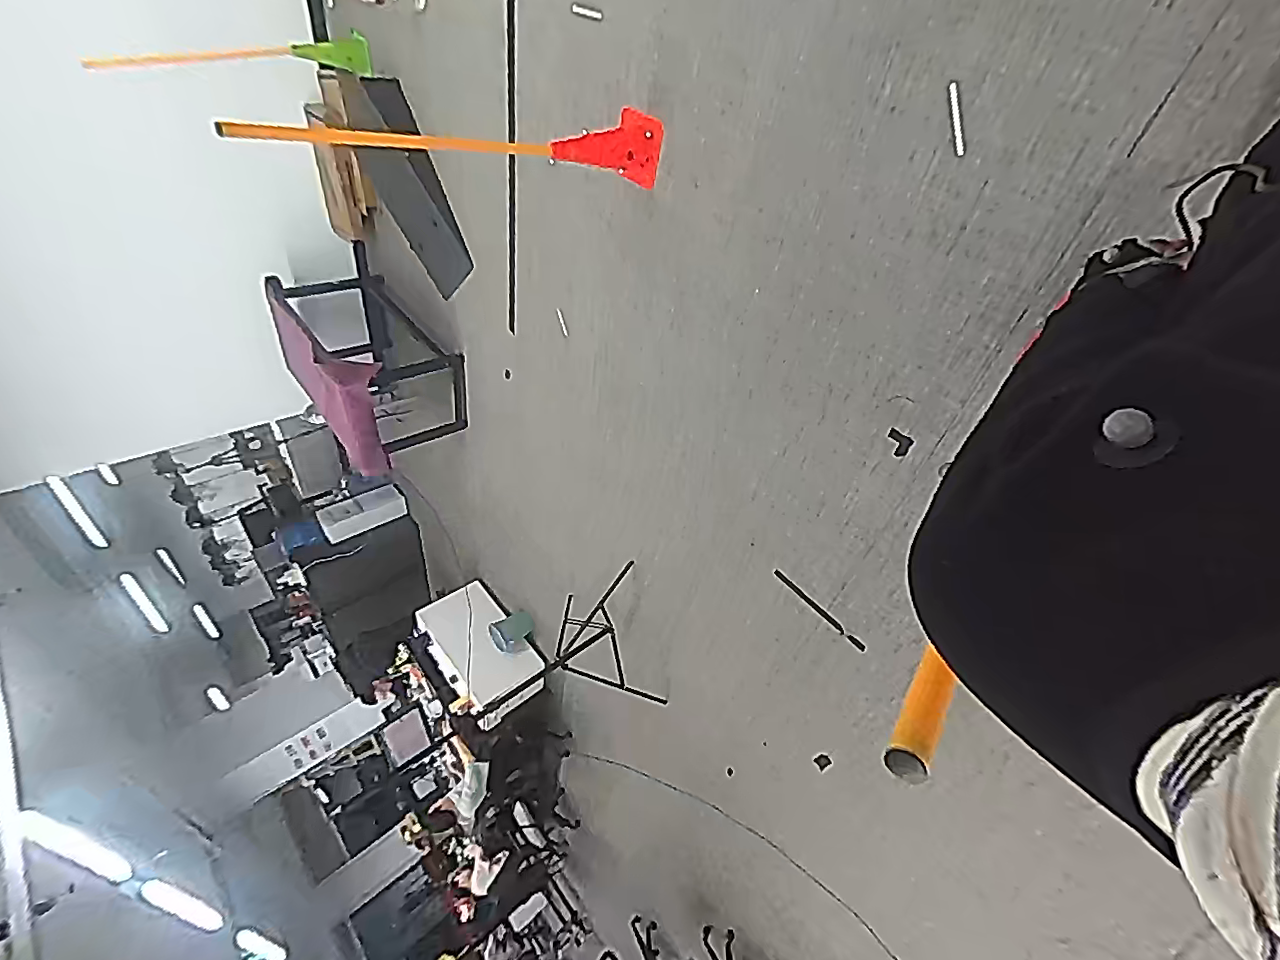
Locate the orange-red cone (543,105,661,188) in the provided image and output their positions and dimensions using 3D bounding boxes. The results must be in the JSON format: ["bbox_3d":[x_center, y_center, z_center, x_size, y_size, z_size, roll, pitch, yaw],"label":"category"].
[{"bbox_3d":[-0.141,-1.028,1.669,0.199,0.360,0.198,44,140,26],"label":"orange-red cone"}]
